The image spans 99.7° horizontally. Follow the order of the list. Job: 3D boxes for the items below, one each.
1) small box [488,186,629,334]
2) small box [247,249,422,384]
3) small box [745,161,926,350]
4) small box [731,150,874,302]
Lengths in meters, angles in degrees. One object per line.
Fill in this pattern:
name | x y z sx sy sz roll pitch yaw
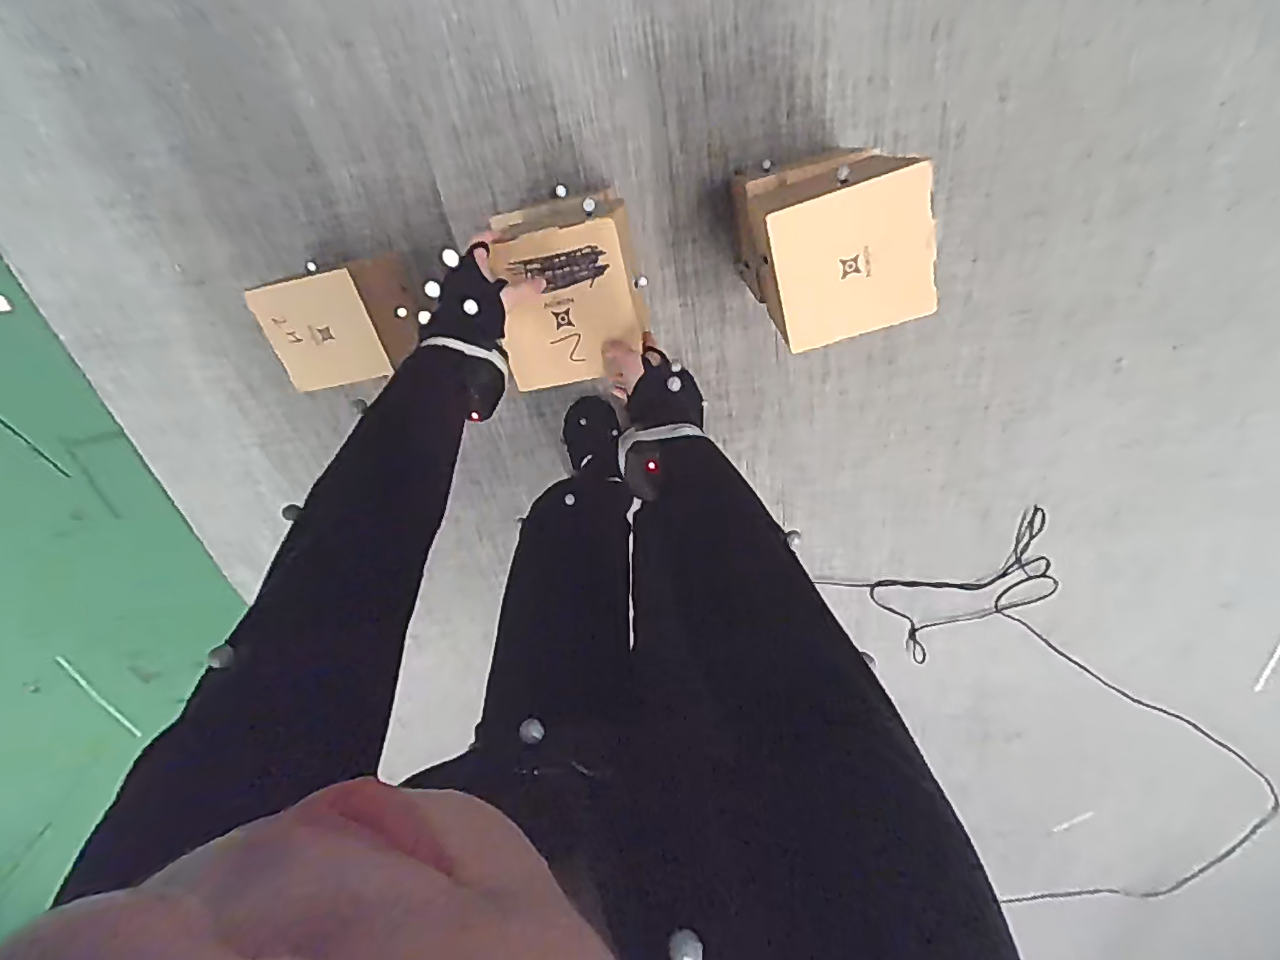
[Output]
small box | -0.114 -0.350 0.852 0.168 0.176 0.179 -8 120 7
small box | -0.492 -0.280 0.911 0.179 0.176 0.168 -8 120 7
small box | 0.237 -0.287 0.686 0.179 0.176 0.168 -14 120 10
small box | 0.237 -0.384 0.817 0.179 0.176 0.168 -10 121 8
